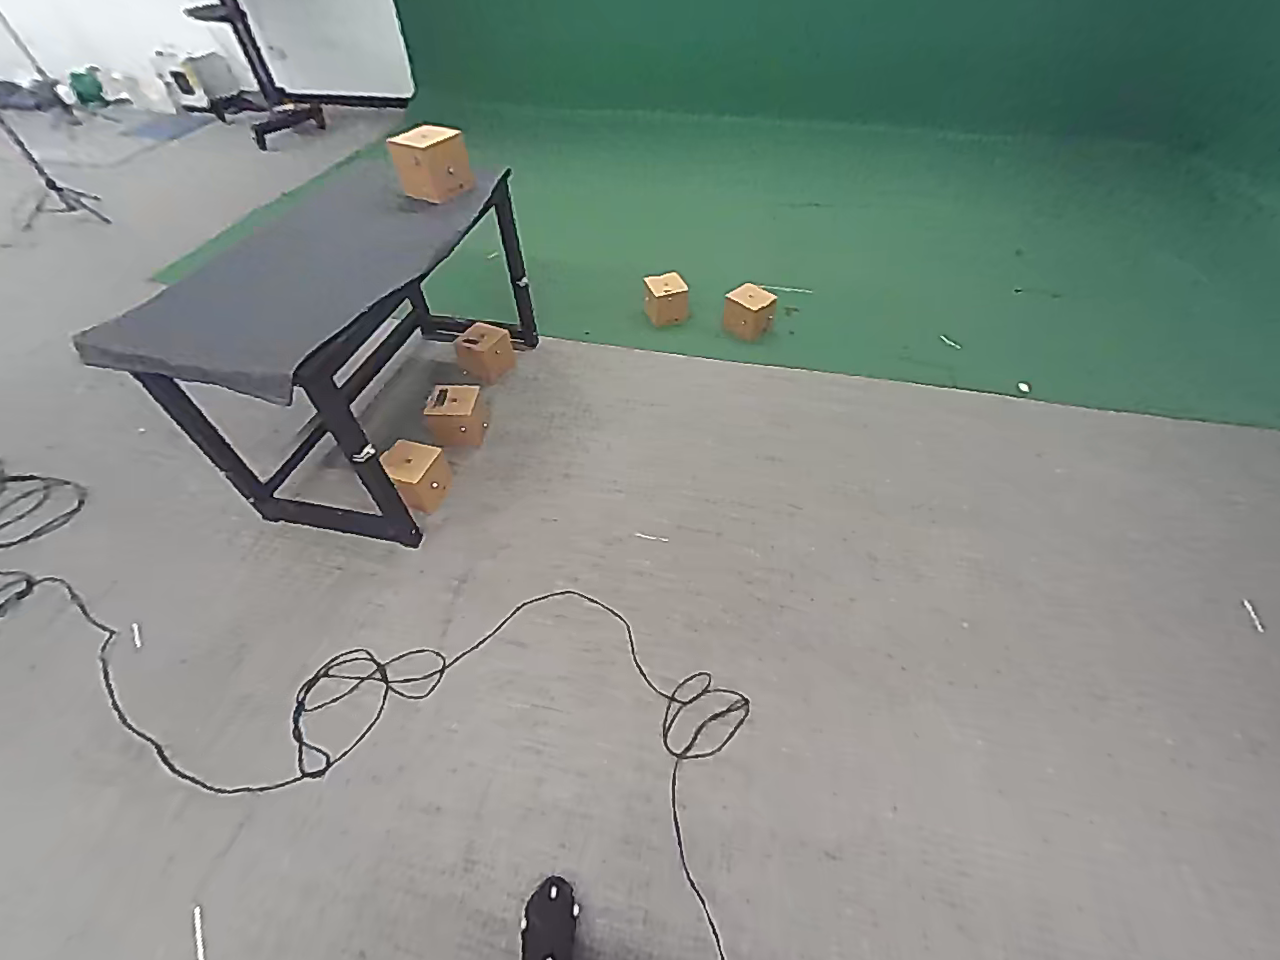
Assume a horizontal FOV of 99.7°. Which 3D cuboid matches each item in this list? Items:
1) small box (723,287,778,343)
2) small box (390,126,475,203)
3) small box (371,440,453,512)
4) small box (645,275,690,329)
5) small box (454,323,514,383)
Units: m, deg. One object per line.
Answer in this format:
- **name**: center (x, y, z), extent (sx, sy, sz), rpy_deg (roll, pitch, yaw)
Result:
- **small box**: center (0.503, -0.749, 2.477), extent (0.168, 0.176, 0.179), rpy_deg (-34, 56, -26)
- **small box**: center (-0.670, -1.030, 1.770), extent (0.179, 0.176, 0.168), rpy_deg (25, 54, 24)
- **small box**: center (-0.775, -0.009, 1.862), extent (0.179, 0.176, 0.168), rpy_deg (13, 51, 12)
- **small box**: center (0.127, -0.842, 2.563), extent (0.168, 0.176, 0.179), rpy_deg (-15, 50, -12)
- **small box**: center (-0.659, -0.541, 2.313), extent (0.168, 0.176, 0.179), rpy_deg (20, 51, 17)
